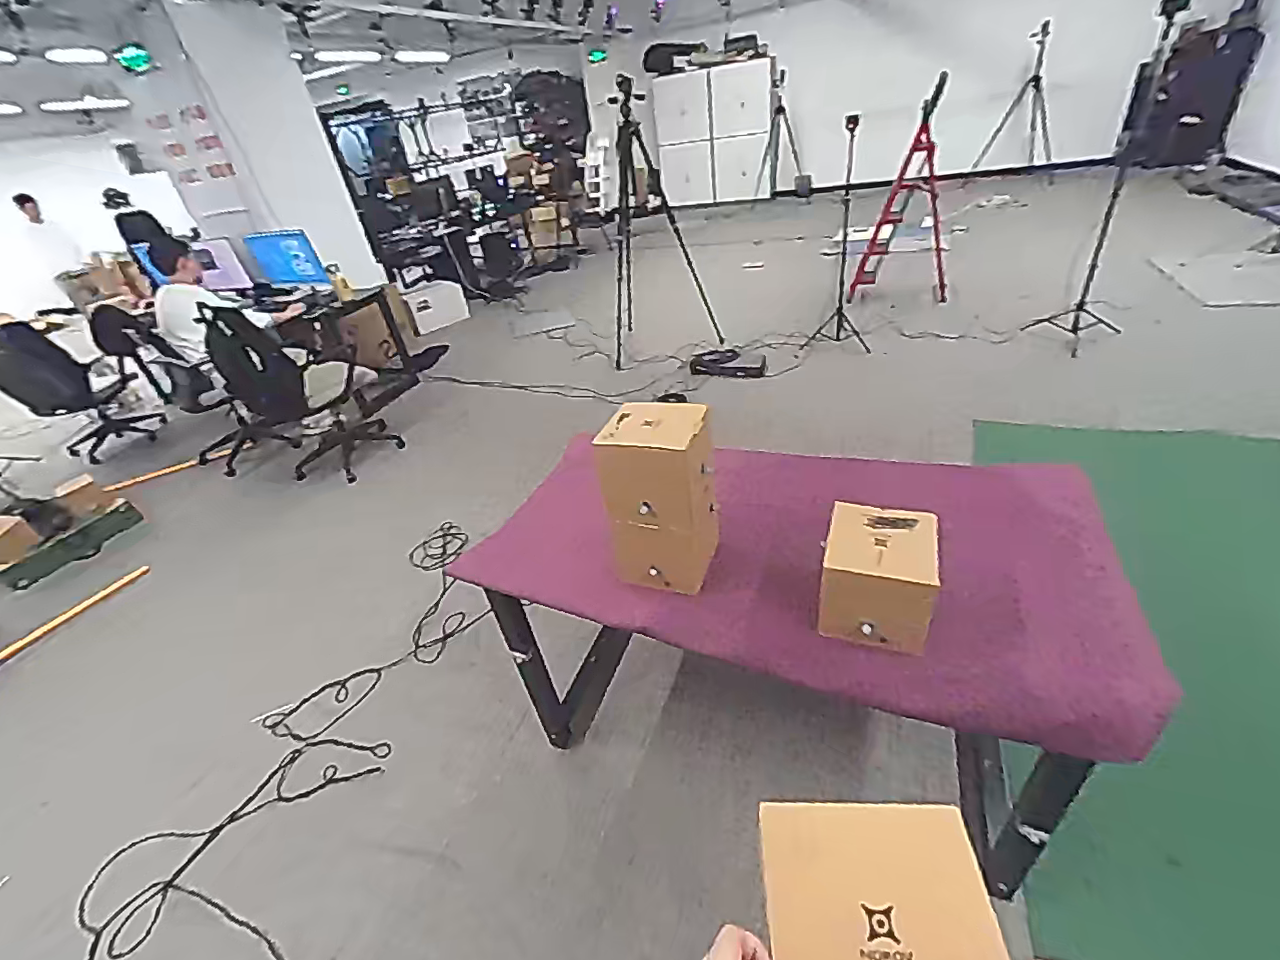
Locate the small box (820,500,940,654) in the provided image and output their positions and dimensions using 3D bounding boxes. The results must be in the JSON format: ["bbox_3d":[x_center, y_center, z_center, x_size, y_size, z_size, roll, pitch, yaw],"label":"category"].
[{"bbox_3d":[0.406,0.161,0.923,0.168,0.176,0.179,7,38,24],"label":"small box"}]

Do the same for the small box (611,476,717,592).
[{"bbox_3d":[0.058,0.098,1.099,0.168,0.176,0.179,6,36,22],"label":"small box"}]

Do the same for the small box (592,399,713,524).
[{"bbox_3d":[0.033,-0.036,1.009,0.179,0.176,0.168,6,35,21],"label":"small box"}]
